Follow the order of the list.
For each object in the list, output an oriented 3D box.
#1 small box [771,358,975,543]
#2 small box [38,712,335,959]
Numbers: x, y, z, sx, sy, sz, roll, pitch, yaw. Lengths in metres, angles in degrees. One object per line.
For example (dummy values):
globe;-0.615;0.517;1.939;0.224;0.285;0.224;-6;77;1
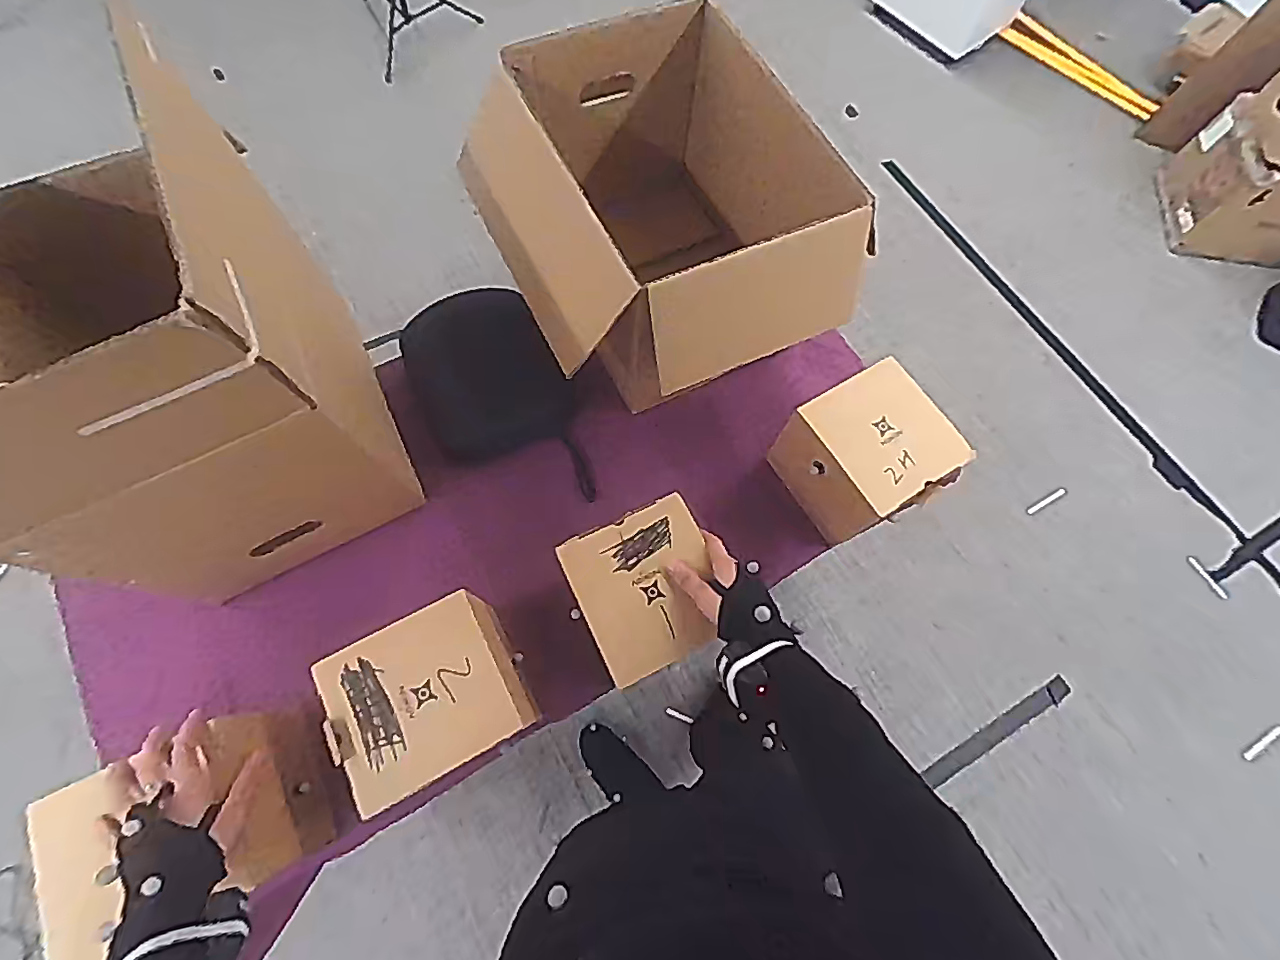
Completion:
small box;0.313;-0.034;0.773;0.168;0.176;0.179;-29;74;-11
small box;-0.475;0.374;0.591;0.179;0.176;0.168;-24;73;-12
